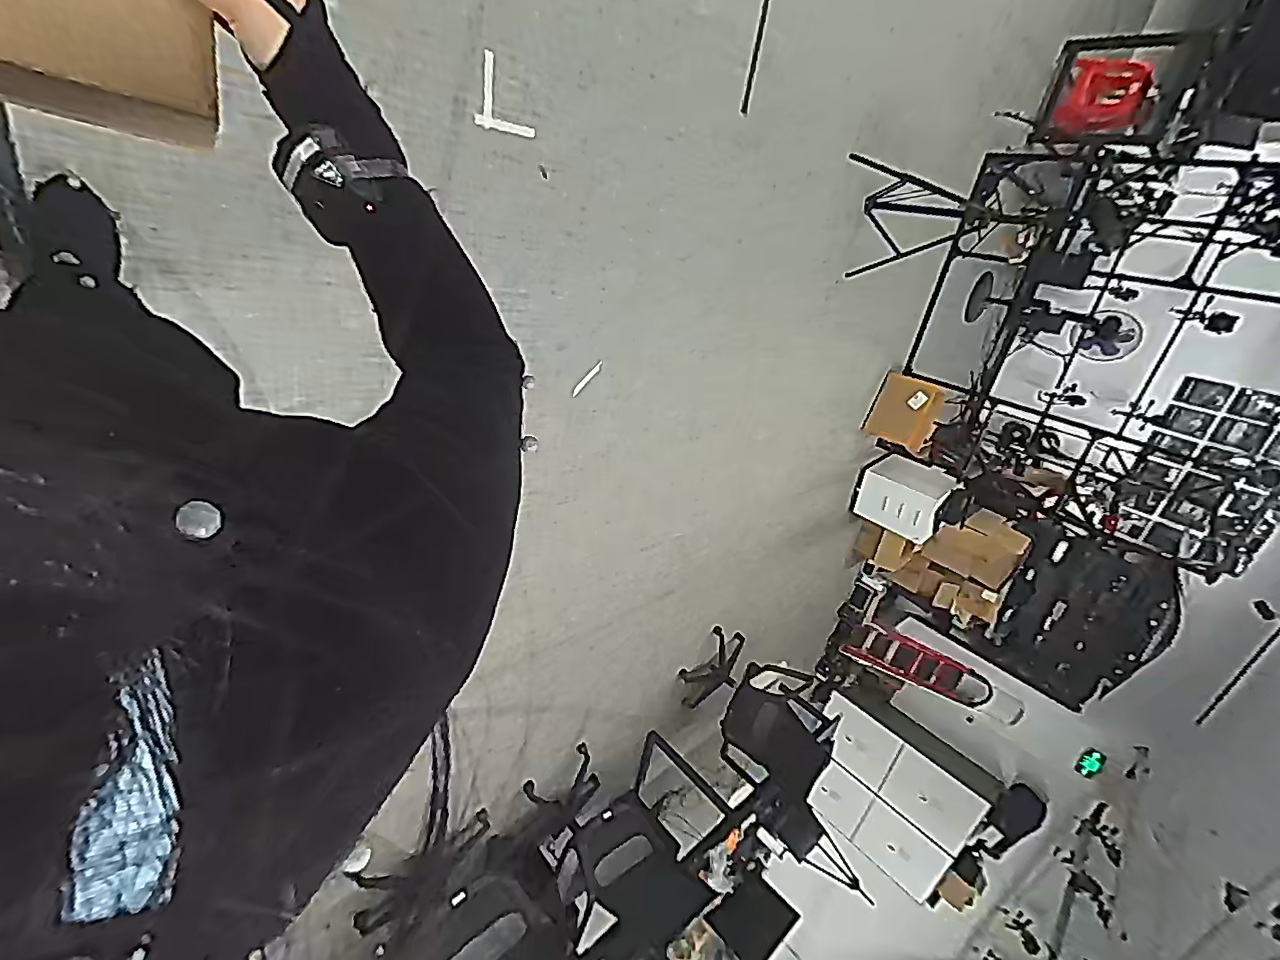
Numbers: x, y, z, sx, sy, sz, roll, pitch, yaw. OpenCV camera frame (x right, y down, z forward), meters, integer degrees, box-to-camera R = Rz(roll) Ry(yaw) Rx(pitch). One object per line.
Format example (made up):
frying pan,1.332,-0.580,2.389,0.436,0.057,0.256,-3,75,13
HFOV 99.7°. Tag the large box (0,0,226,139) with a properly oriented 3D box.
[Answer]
large box,-0.528,-0.452,0.339,0.408,0.320,0.320,-4,114,-38
